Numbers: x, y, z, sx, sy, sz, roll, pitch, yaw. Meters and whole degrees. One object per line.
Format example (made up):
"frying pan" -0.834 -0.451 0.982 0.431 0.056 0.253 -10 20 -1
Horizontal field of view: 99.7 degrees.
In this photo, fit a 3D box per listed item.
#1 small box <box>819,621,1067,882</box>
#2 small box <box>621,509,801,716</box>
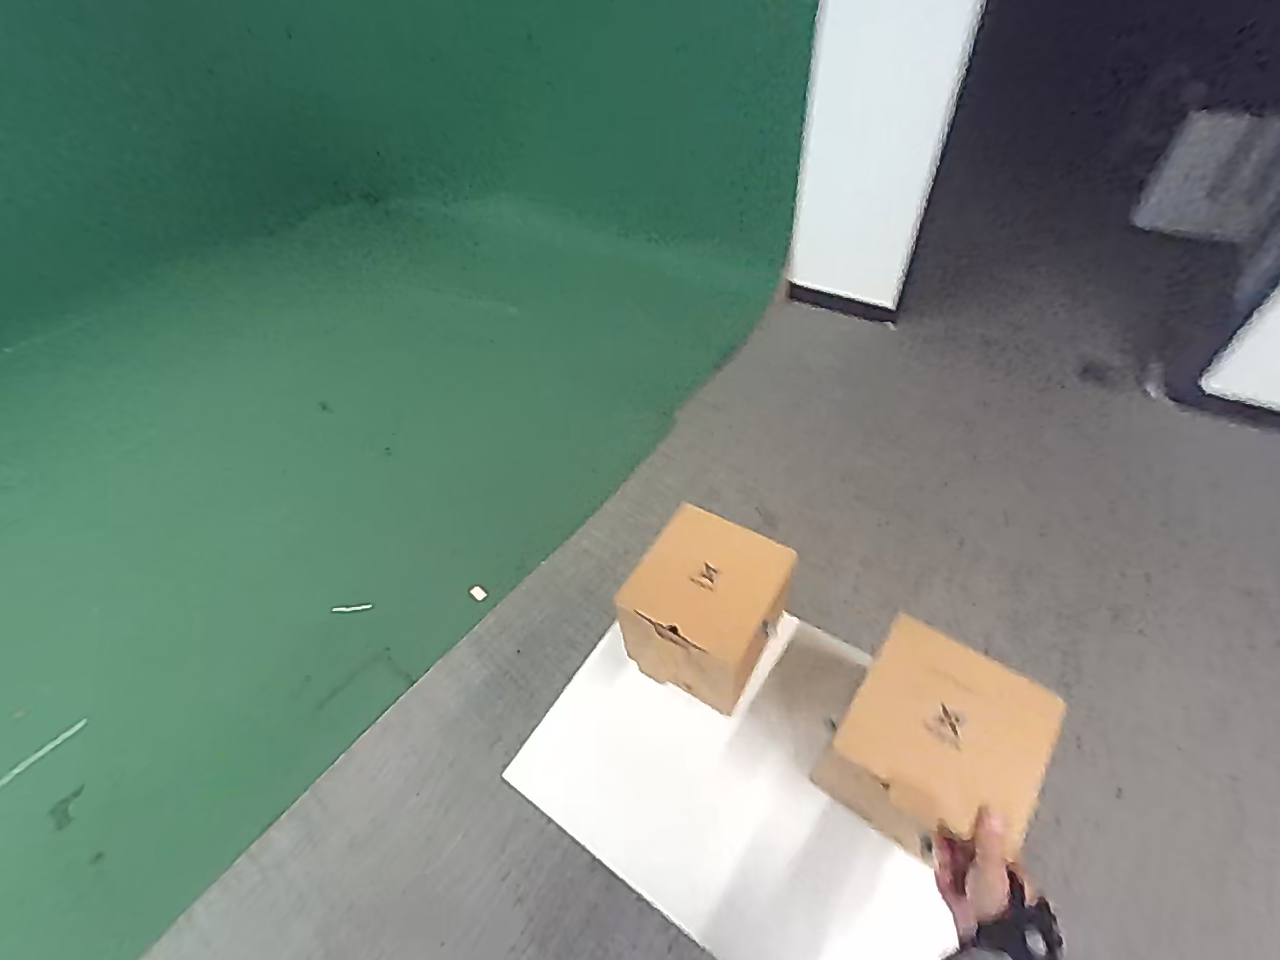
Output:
"small box" 0.310 0.296 0.587 0.168 0.176 0.179 29 60 27
"small box" 0.093 0.177 0.723 0.168 0.176 0.179 24 57 24
